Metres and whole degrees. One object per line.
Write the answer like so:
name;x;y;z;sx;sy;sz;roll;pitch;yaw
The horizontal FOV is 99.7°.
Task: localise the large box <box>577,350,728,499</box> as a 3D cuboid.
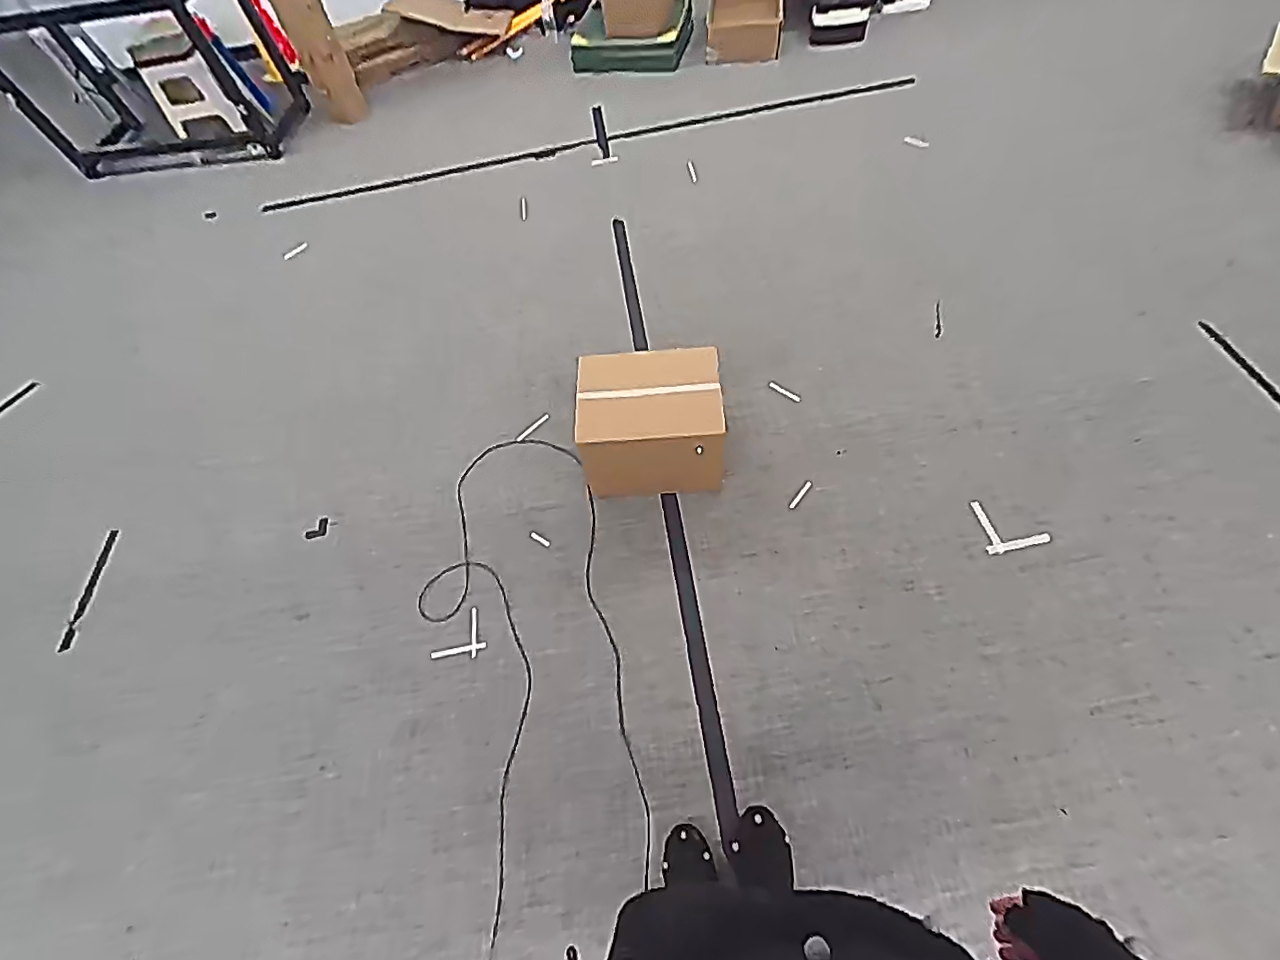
large box;0.041;-0.155;1.624;0.408;0.320;0.320;-4;59;4
